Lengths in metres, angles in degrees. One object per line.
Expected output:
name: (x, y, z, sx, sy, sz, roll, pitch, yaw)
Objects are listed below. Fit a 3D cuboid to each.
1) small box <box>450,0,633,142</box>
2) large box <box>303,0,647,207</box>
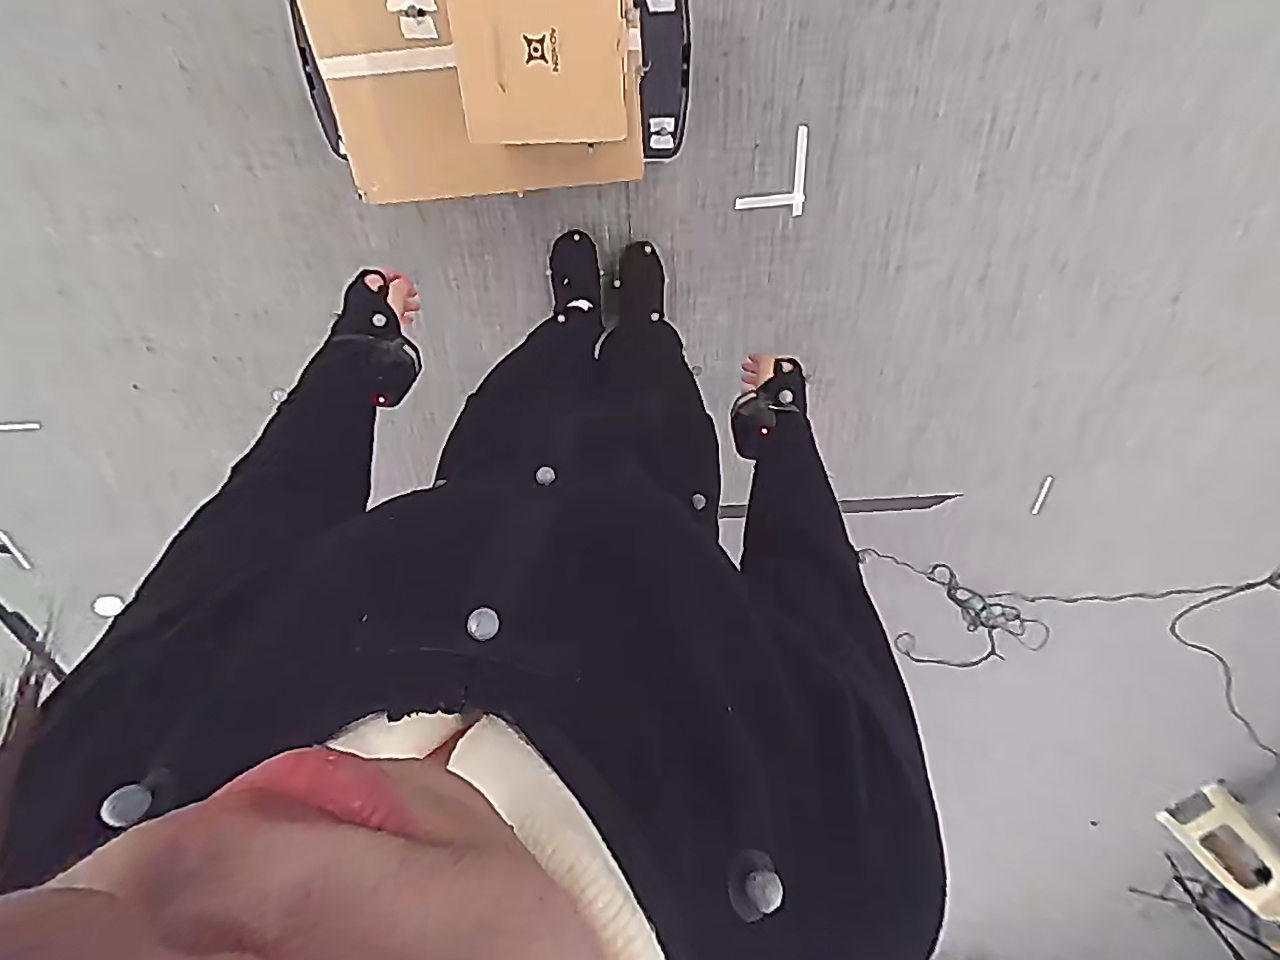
small box: (-0.101, -0.480, 0.609, 0.179, 0.176, 0.168, -2, 122, -2)
large box: (-0.207, -0.614, 0.809, 0.408, 0.320, 0.320, -5, 121, 0)
